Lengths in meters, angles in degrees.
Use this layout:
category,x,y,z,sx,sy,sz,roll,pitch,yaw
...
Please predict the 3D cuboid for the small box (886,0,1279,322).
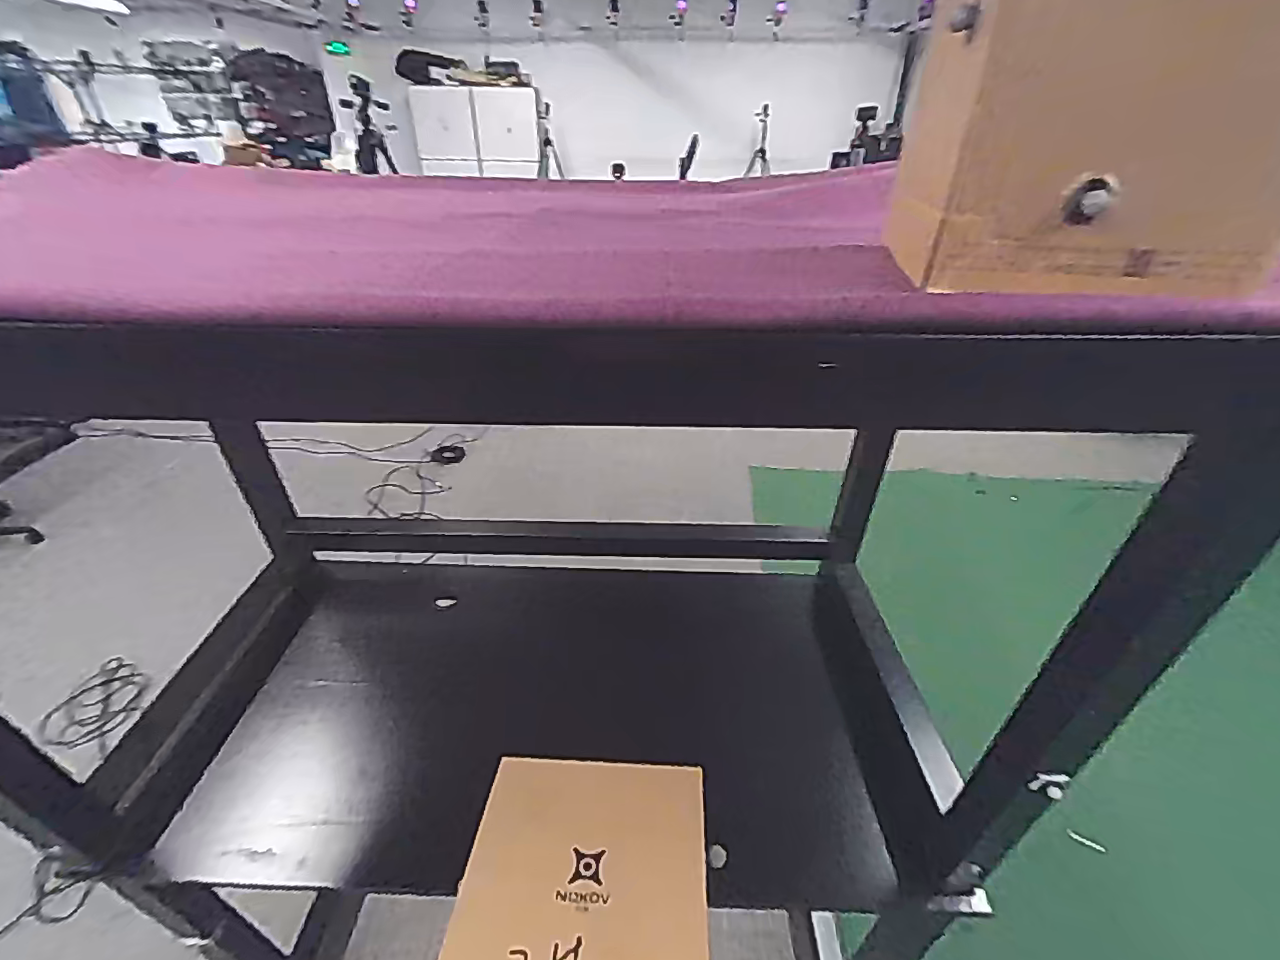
category,x,y,z,sx,sy,sz,roll,pitch,yaw
small box,0.269,-0.213,0.337,0.168,0.176,0.179,7,36,10
